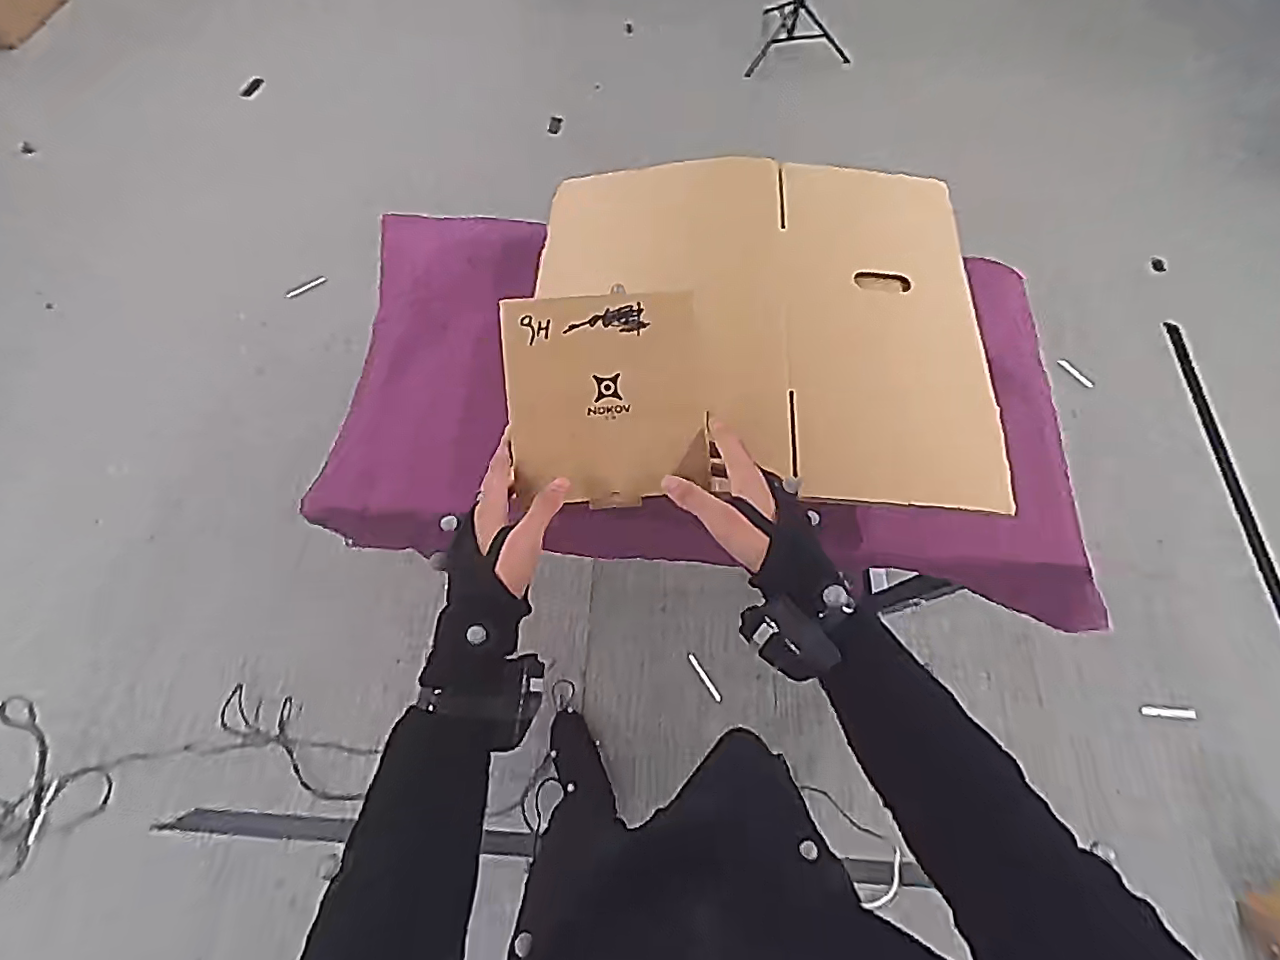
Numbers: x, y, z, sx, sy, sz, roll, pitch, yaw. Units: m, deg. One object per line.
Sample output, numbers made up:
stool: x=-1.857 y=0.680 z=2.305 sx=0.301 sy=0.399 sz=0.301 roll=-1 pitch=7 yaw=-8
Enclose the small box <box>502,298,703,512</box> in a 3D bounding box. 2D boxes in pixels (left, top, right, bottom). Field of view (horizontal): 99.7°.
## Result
small box: x=-0.034 y=-0.067 z=0.539 sx=0.168 sy=0.176 sz=0.179 roll=-4 pitch=91 yaw=-3
